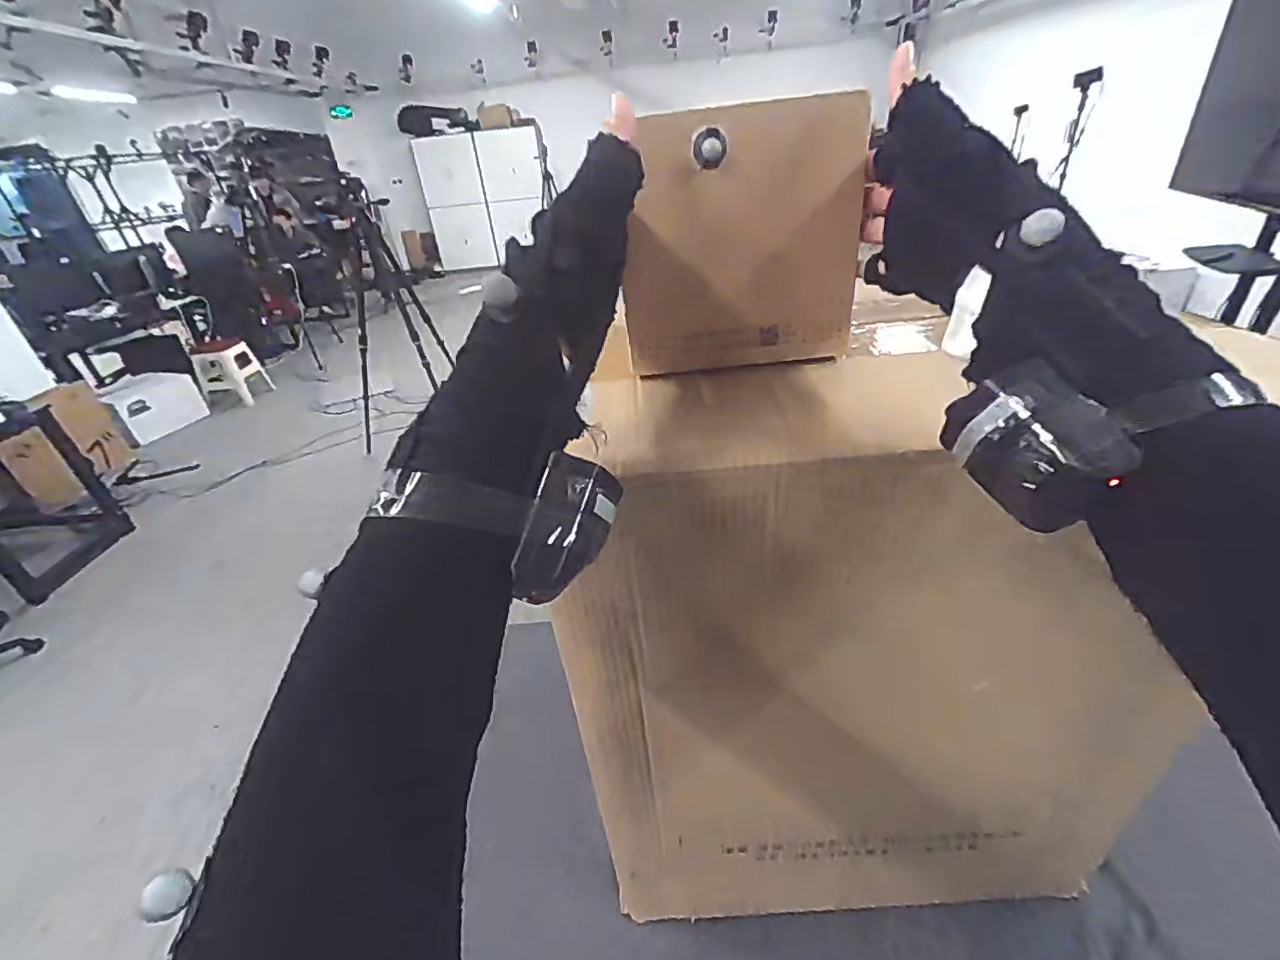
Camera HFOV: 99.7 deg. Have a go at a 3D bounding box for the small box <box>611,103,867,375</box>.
[{"bbox_3d":[0.070,-0.197,0.453,0.168,0.176,0.179,-5,29,3],"label":"small box"}]
